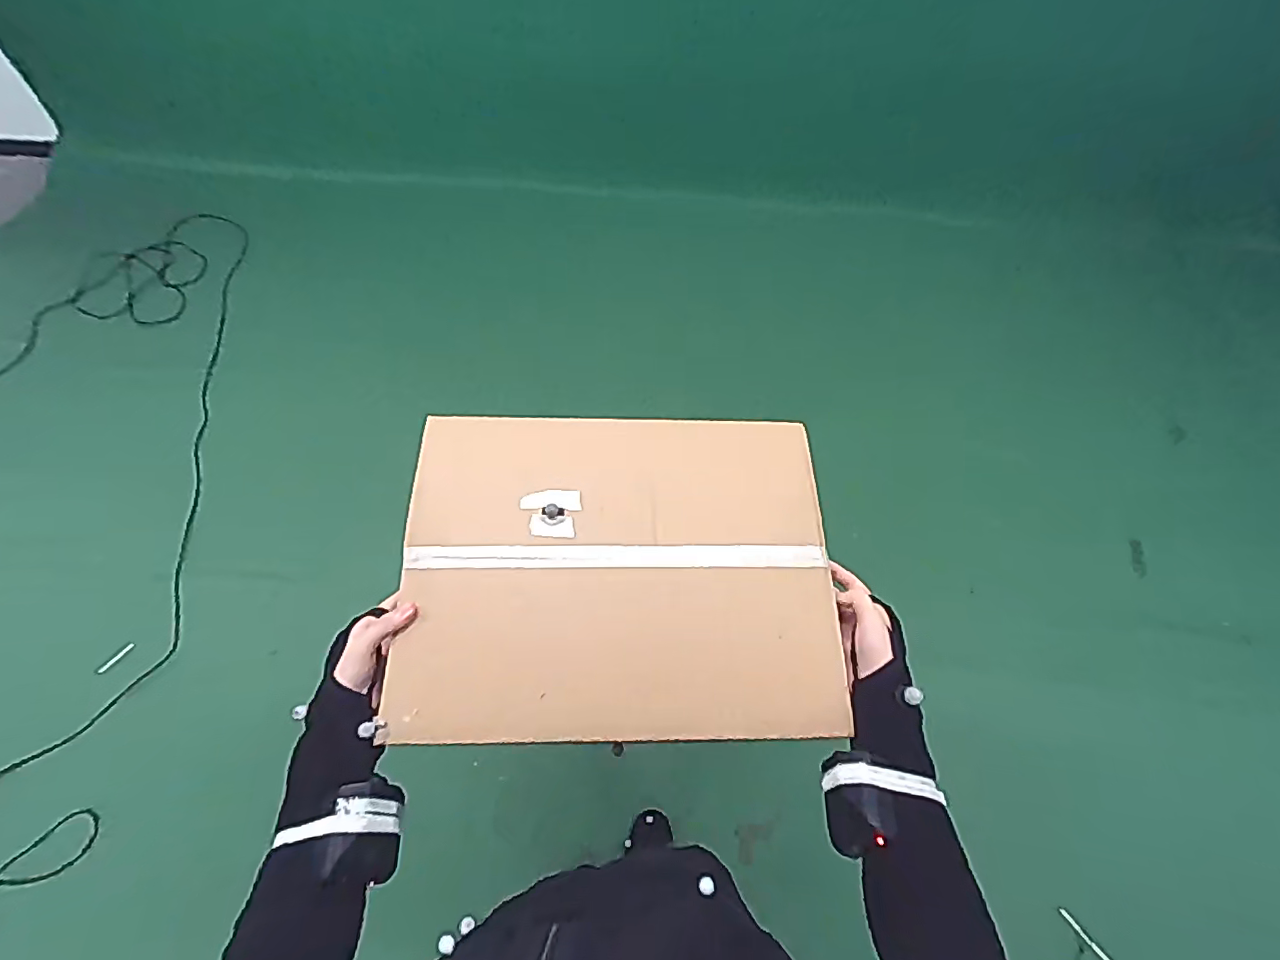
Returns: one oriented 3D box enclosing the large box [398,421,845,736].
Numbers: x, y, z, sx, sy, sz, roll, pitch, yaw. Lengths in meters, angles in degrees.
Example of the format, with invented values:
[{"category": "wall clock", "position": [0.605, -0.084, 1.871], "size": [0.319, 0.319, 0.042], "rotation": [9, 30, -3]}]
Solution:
[{"category": "large box", "position": [-0.020, 0.136, 0.671], "size": [0.408, 0.320, 0.320], "rotation": [0, 65, -2]}]
